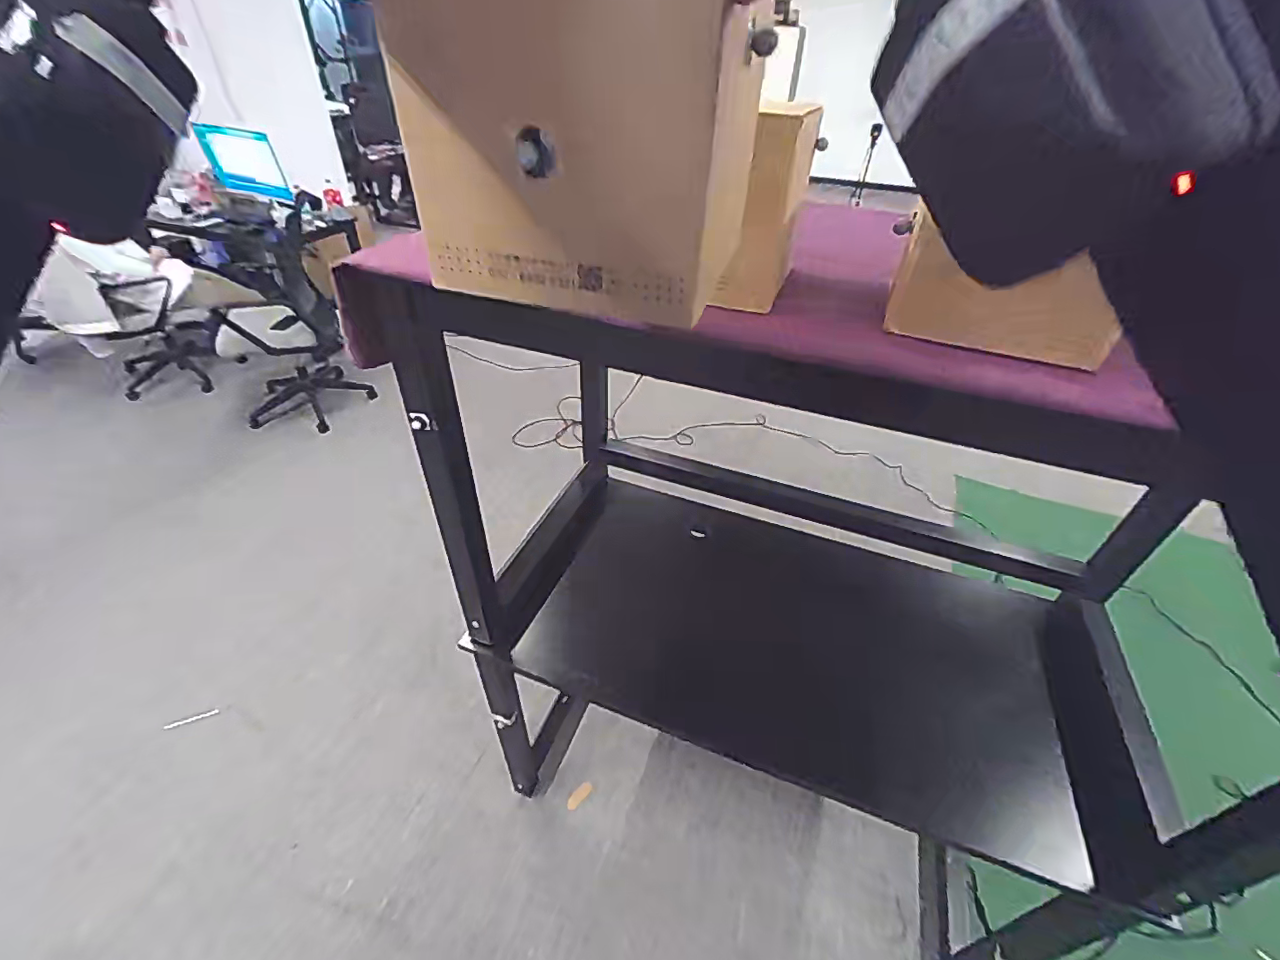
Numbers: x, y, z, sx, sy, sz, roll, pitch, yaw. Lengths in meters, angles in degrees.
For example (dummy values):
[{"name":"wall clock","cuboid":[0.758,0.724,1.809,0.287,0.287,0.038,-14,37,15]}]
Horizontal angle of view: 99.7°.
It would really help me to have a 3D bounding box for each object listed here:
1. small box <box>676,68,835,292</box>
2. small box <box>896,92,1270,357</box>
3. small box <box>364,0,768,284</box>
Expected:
[{"name":"small box","cuboid":[0.078,-0.301,0.534,0.168,0.176,0.179,17,40,15]},{"name":"small box","cuboid":[0.337,-0.222,0.462,0.179,0.176,0.168,18,41,17]},{"name":"small box","cuboid":[-0.025,-0.229,0.304,0.168,0.176,0.179,15,43,11]}]
